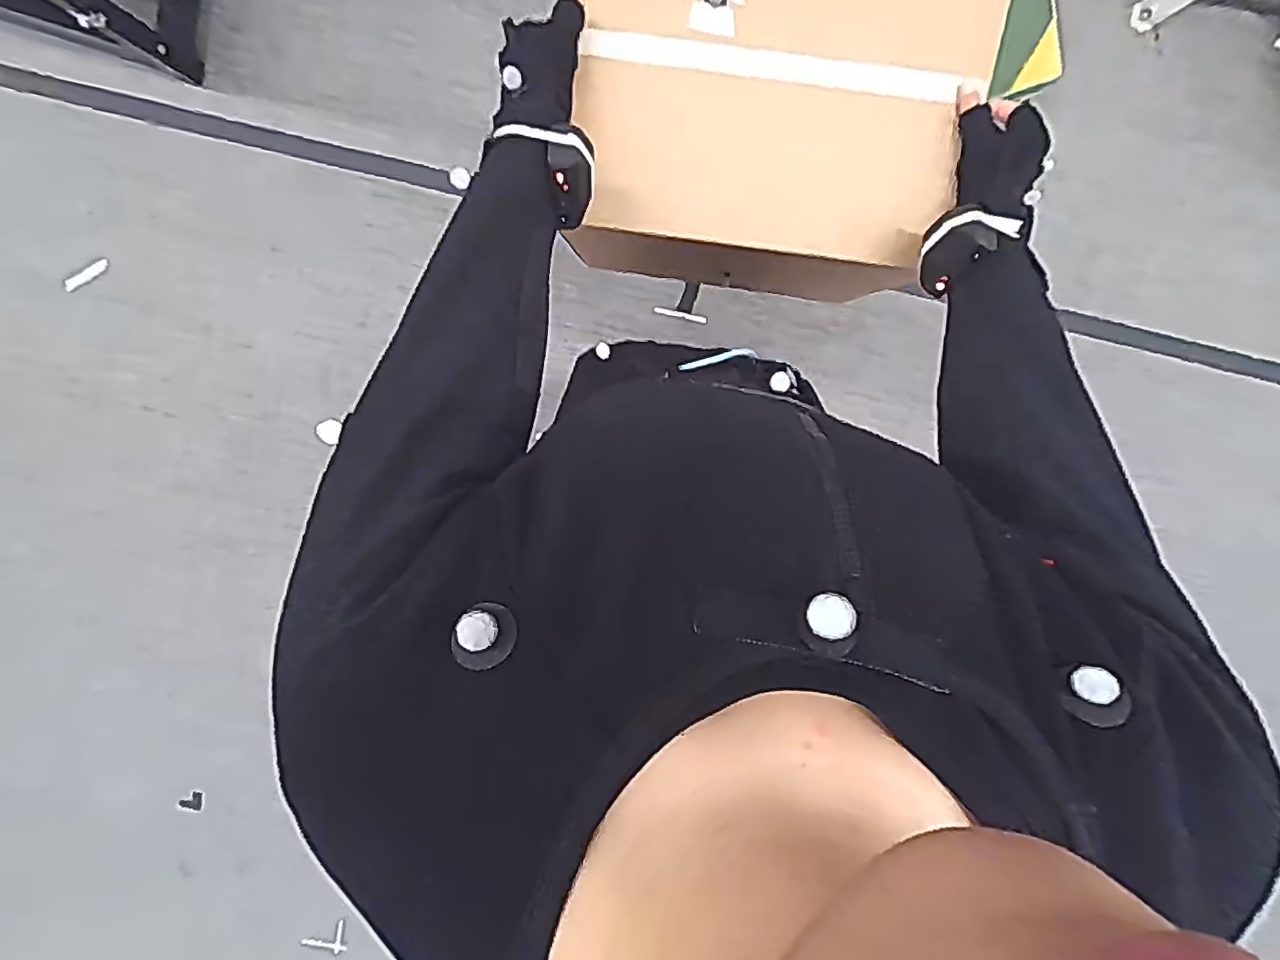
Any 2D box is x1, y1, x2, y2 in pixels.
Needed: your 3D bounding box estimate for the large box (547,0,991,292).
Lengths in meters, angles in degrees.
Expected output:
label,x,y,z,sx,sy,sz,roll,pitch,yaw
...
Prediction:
label,x,y,z,sx,sy,sz,roll,pitch,yaw
large box,0.126,-0.427,0.664,0.408,0.320,0.320,8,102,1
